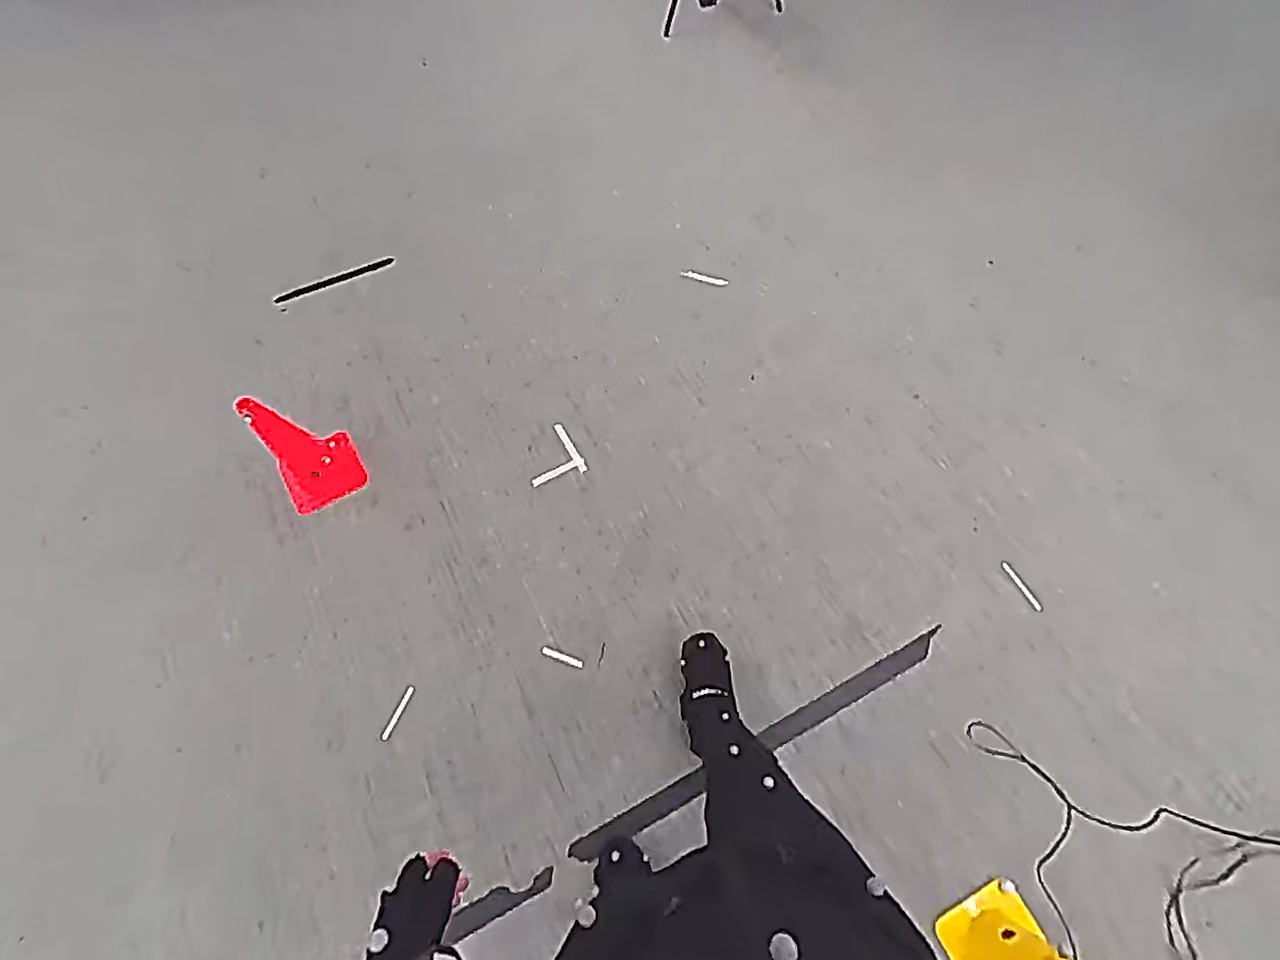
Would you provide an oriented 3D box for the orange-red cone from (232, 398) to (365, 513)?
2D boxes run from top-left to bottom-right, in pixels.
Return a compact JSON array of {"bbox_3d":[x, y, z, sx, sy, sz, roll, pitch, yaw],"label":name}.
[{"bbox_3d":[-0.883,-0.092,1.349,0.199,0.360,0.198,-30,69,-13],"label":"orange-red cone"}]
